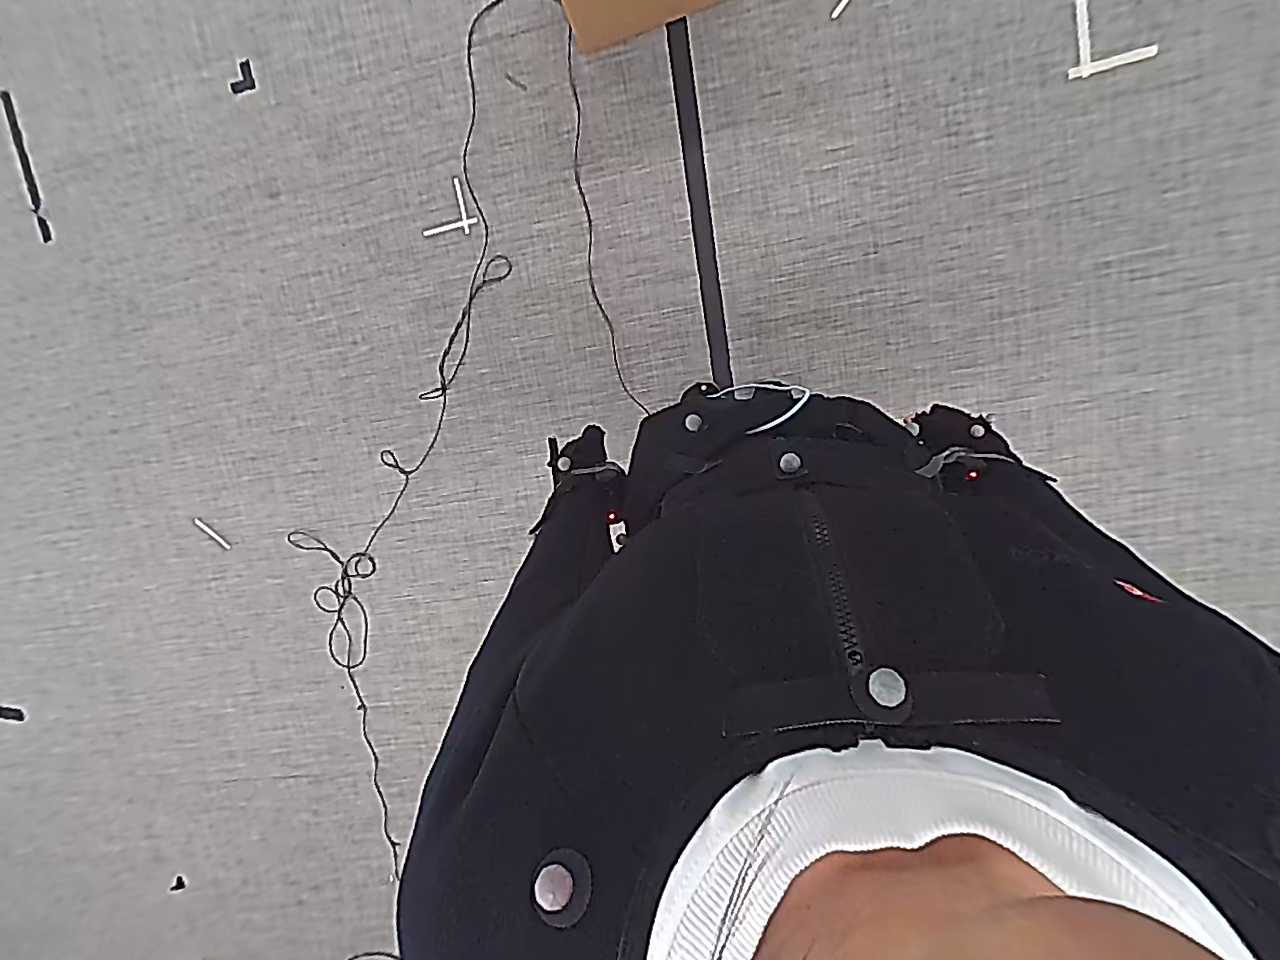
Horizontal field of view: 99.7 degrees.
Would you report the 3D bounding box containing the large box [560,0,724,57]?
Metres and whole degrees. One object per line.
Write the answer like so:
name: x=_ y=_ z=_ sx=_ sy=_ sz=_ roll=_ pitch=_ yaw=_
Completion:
large box: x=-0.013 y=-1.184 z=1.109 sx=0.408 sy=0.320 sz=0.320 roll=-15 pitch=99 yaw=8
